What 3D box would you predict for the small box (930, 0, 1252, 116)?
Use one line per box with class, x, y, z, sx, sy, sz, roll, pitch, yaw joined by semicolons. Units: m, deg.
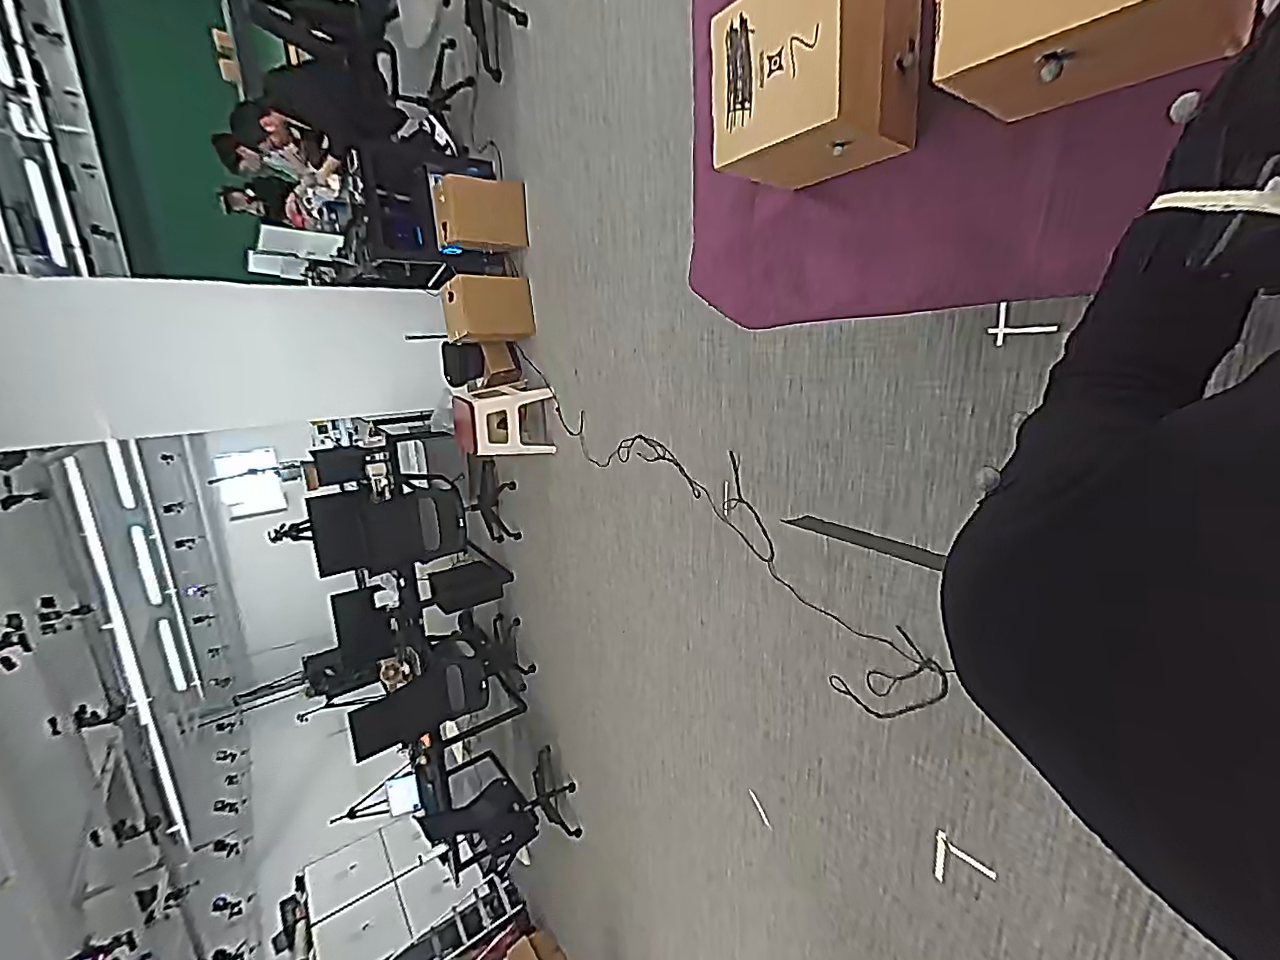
small box;0.368;-0.424;0.433;0.179;0.176;0.168;17;114;52
